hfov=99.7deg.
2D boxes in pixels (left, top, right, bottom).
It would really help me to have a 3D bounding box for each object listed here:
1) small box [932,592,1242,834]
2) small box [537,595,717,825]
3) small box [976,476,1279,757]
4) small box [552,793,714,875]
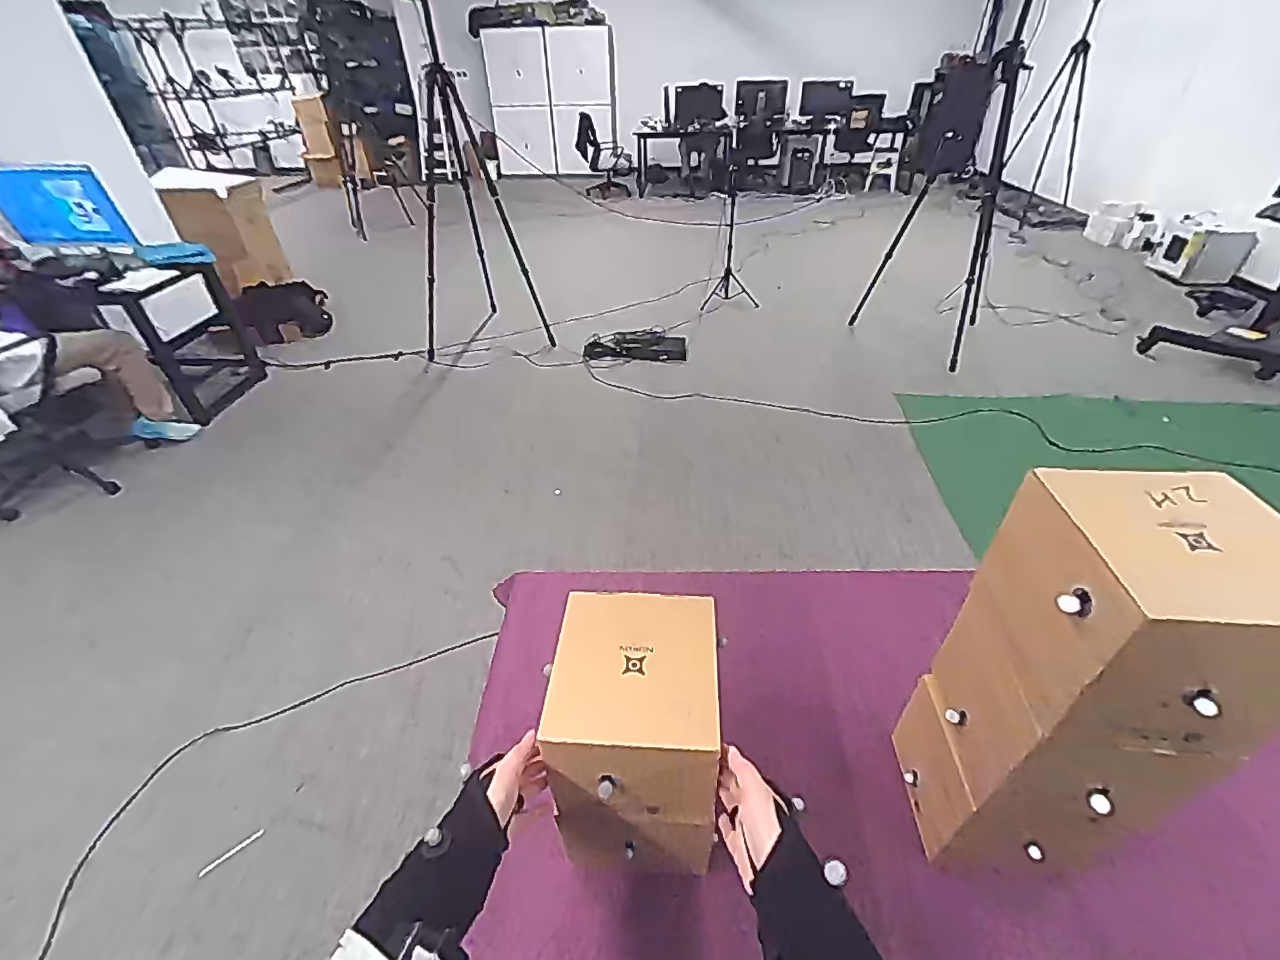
[{"bbox_3d":[0.441,0.246,0.576,0.168,0.176,0.179,4,39,7],"label":"small box"},{"bbox_3d":[-0.003,0.250,0.592,0.168,0.176,0.179,1,37,4],"label":"small box"},{"bbox_3d":[0.434,0.116,0.474,0.168,0.176,0.179,3,38,6],"label":"small box"},{"bbox_3d":[-0.002,0.379,0.690,0.179,0.176,0.168,0,38,4],"label":"small box"}]
